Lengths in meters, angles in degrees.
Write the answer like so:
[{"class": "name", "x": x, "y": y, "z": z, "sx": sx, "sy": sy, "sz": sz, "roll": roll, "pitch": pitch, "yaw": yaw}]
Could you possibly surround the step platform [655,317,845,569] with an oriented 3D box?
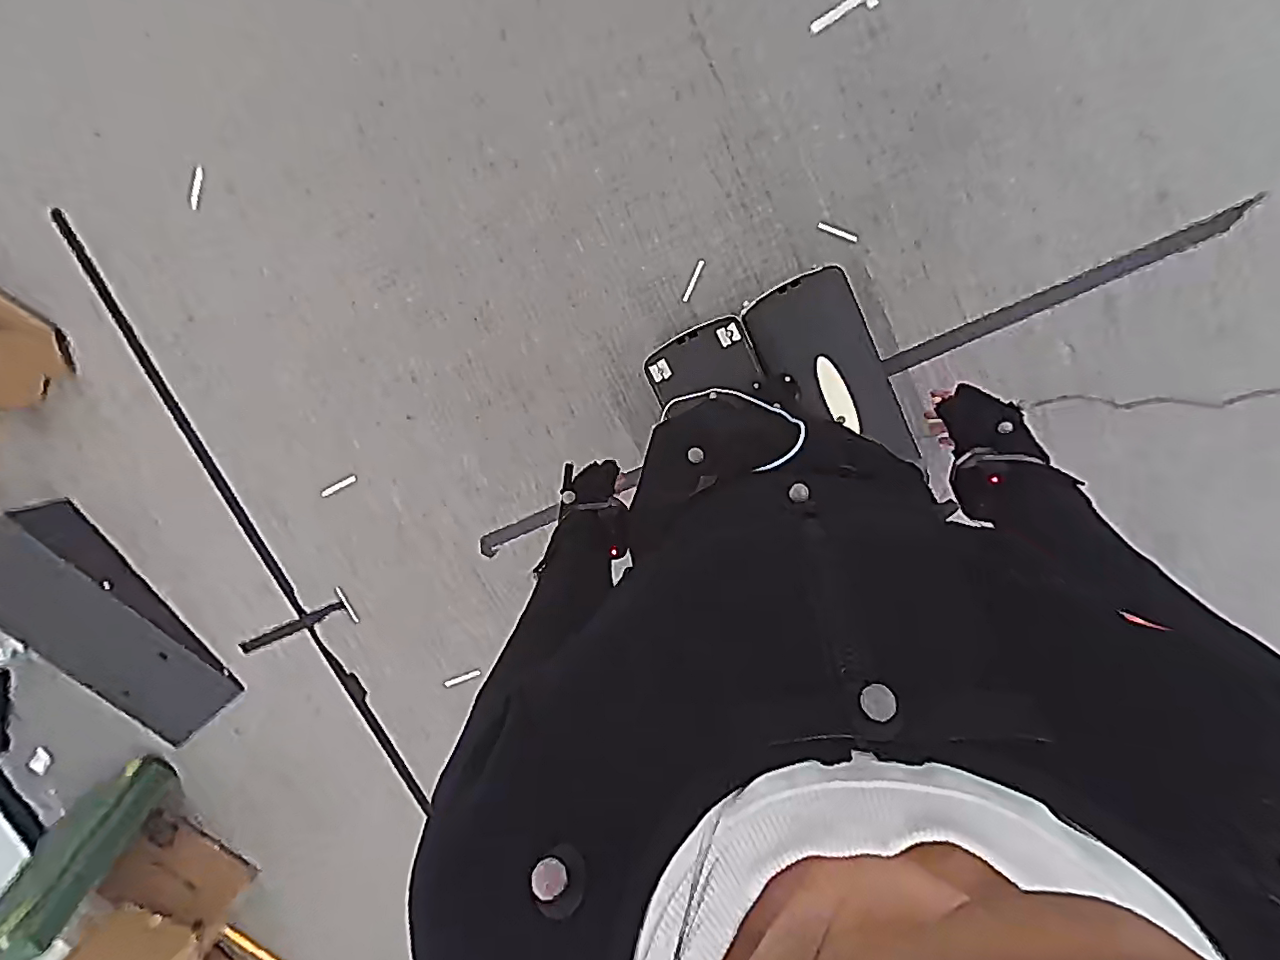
[{"class": "step platform", "x": 0.306, "y": -0.098, "z": 1.508, "sx": 0.286, "sy": 0.204, "sz": 0.684, "roll": -26, "pitch": 96, "yaw": 13}]
